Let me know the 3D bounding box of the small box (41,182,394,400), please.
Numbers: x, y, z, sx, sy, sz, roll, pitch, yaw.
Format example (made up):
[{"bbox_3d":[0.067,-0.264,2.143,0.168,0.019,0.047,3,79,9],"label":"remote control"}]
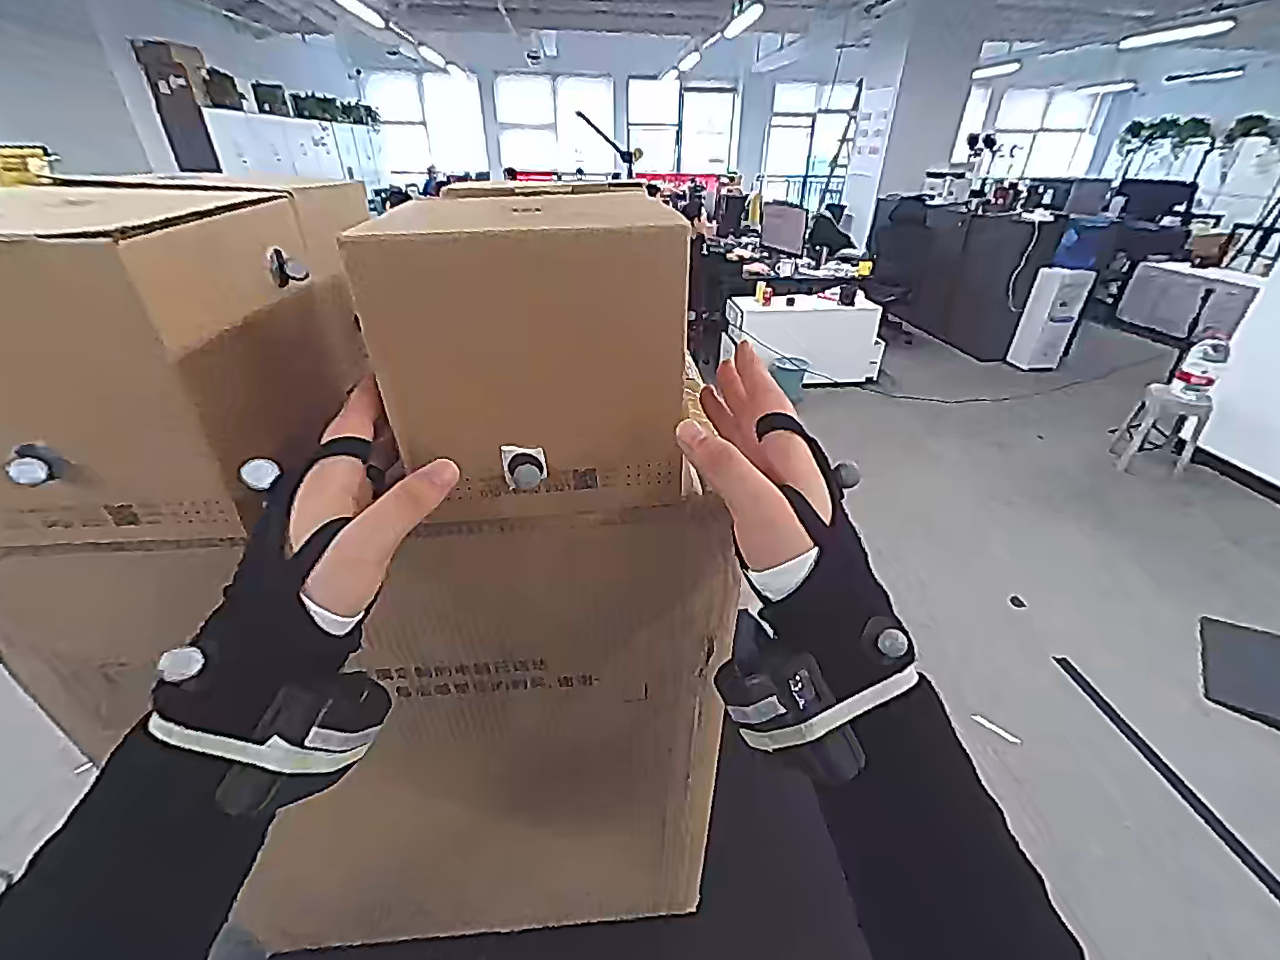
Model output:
[{"bbox_3d":[-0.357,-0.180,0.504,0.179,0.176,0.168,-1,30,-5],"label":"small box"}]
